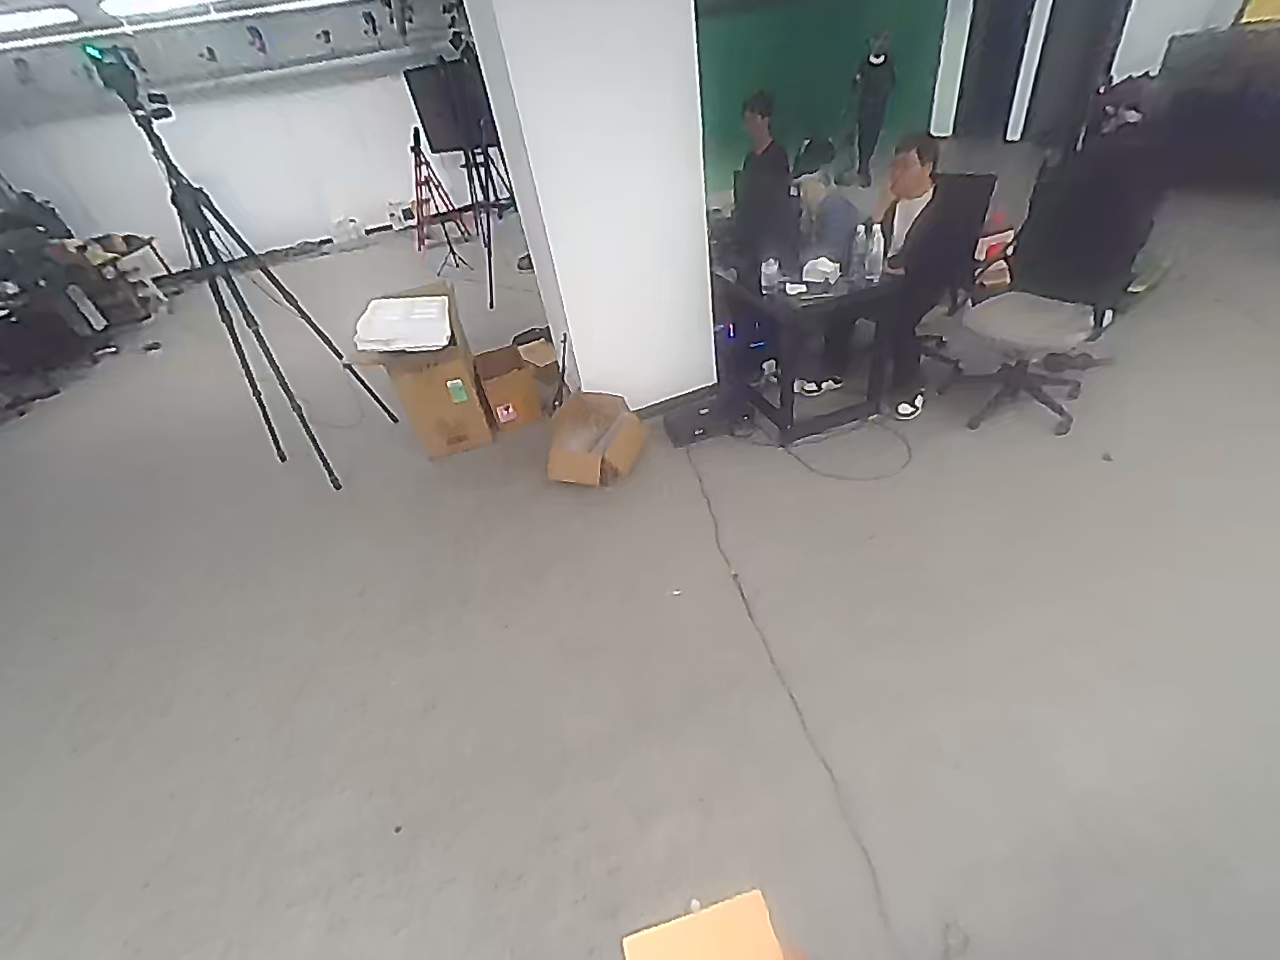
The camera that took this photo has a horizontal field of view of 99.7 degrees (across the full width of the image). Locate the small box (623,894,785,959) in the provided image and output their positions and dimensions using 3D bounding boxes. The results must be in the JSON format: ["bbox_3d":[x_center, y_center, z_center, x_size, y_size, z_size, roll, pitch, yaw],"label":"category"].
[{"bbox_3d":[0.089,0.623,0.624,0.179,0.176,0.168,-13,42,-9],"label":"small box"}]
